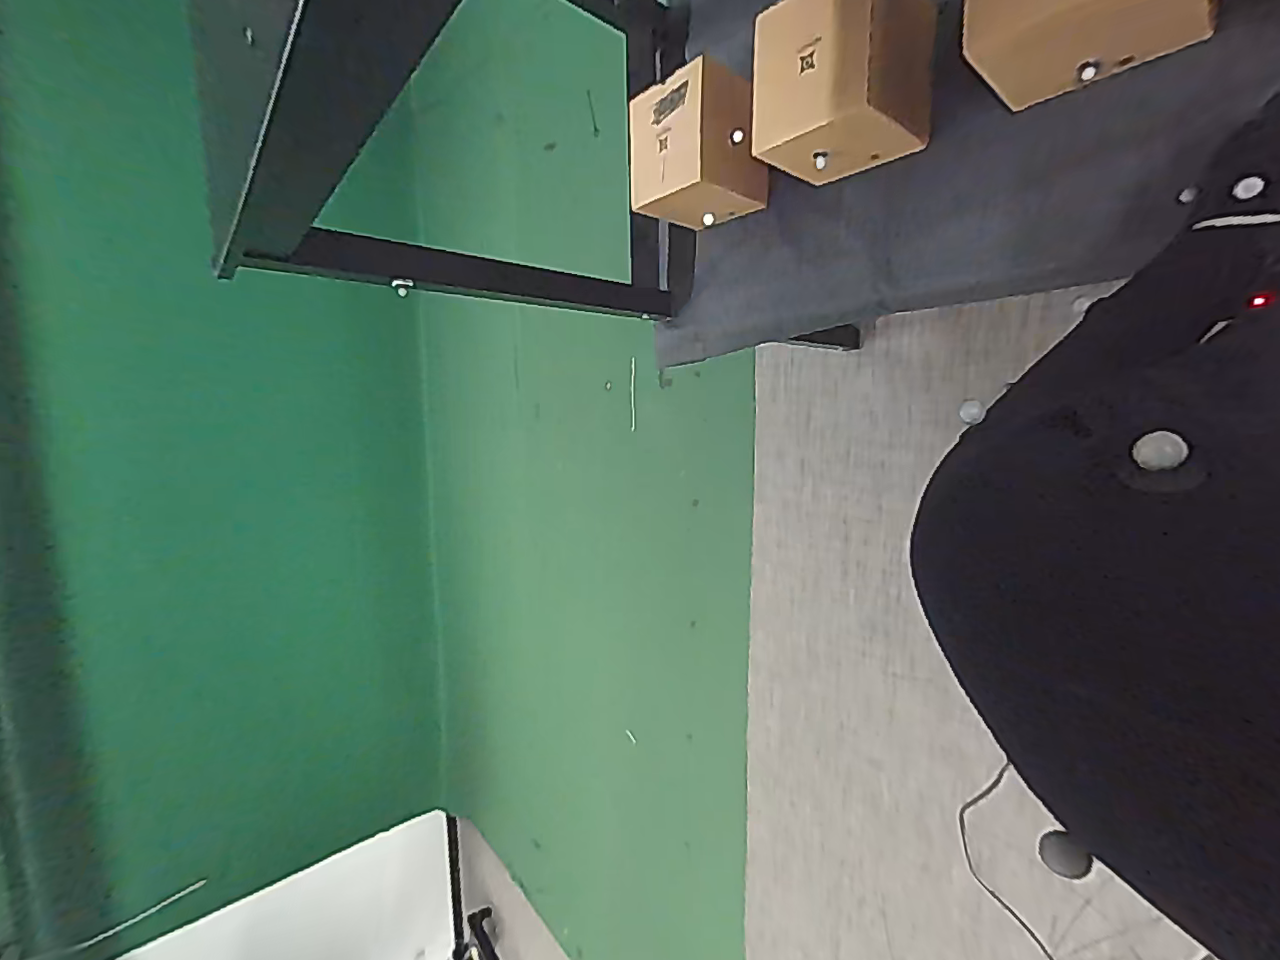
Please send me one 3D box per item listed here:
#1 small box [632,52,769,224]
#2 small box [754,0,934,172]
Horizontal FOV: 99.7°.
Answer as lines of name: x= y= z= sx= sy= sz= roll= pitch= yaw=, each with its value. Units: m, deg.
small box: x=0.104 y=-0.556 z=0.908 sx=0.168 sy=0.176 sz=0.179 roll=8 pitch=102 yaw=49
small box: x=0.271 y=-0.536 z=0.719 sx=0.168 sy=0.176 sz=0.179 roll=8 pitch=101 yaw=49
